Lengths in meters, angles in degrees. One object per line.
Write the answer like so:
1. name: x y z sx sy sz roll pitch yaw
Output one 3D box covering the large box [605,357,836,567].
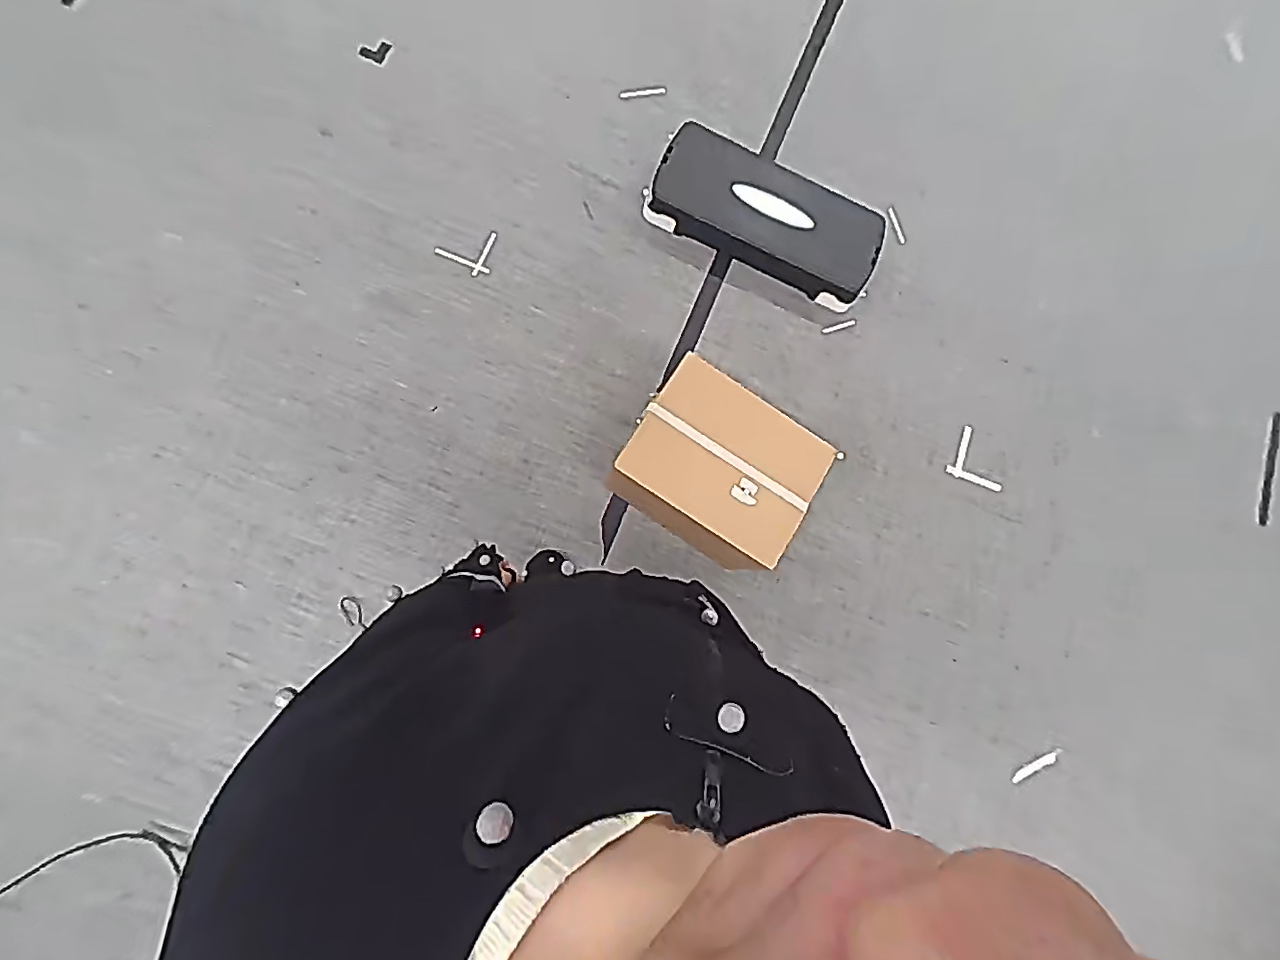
1. large box: 0.170 -0.022 1.307 0.408 0.320 0.320 33 79 -3
